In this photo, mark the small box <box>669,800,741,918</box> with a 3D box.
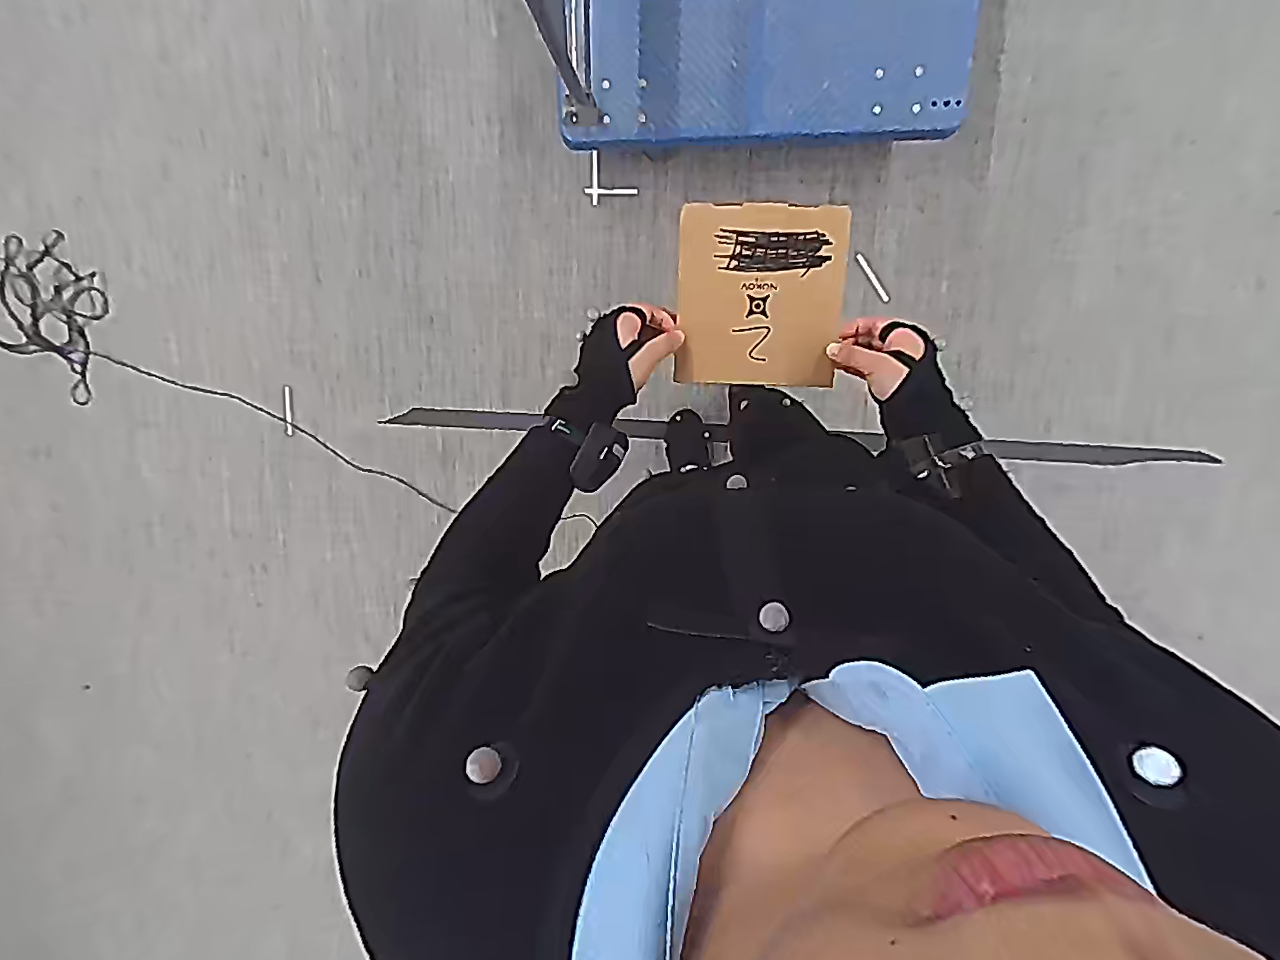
[{"bbox_3d":[0.166,0.975,1.401,0.168,0.176,0.179,3,99,4],"label":"small box"}]

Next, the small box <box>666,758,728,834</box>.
[{"bbox_3d":[0.171,0.941,1.560,0.168,0.176,0.179,-9,99,5],"label":"small box"}]
